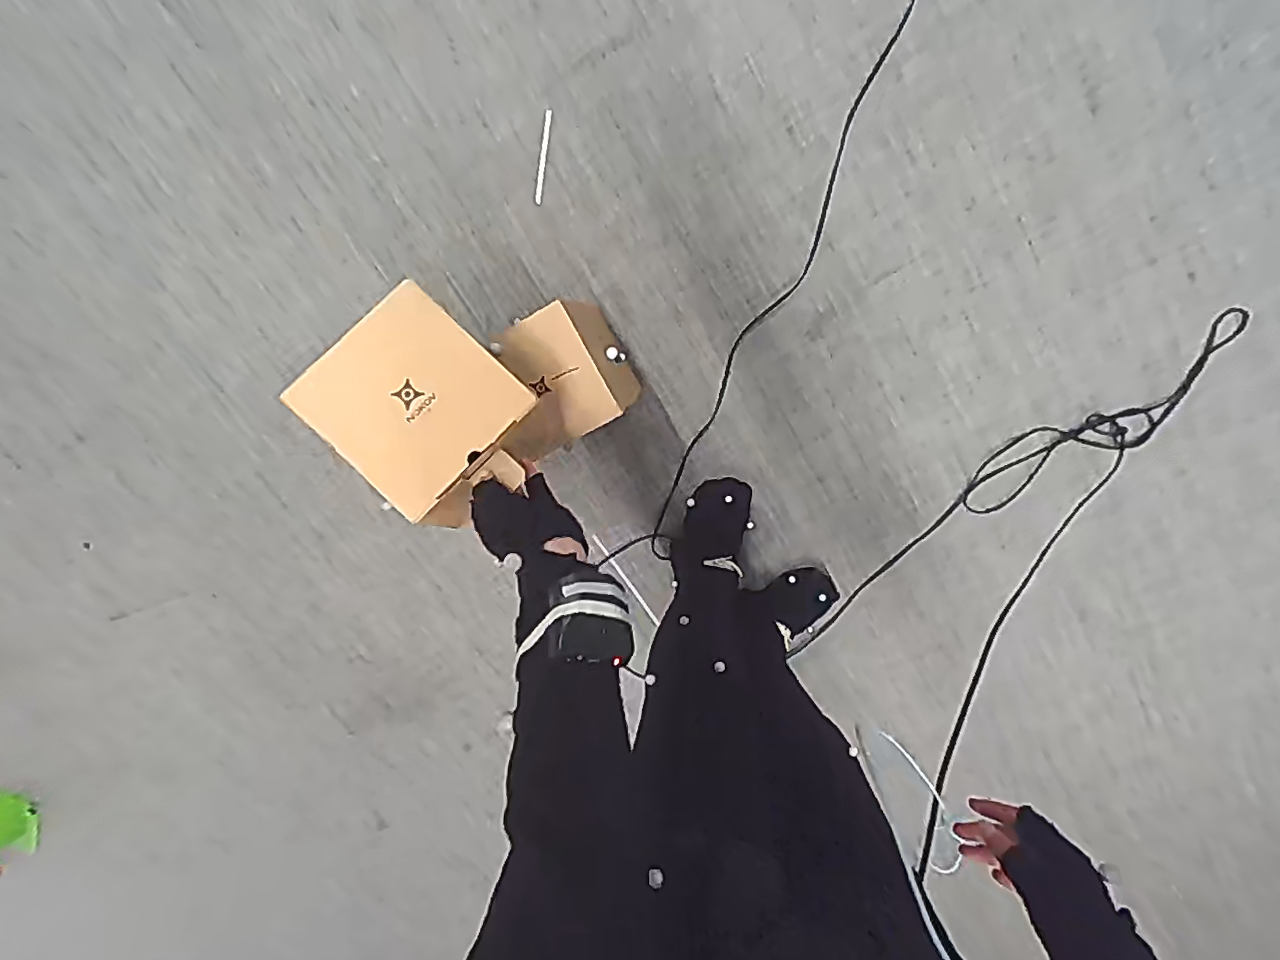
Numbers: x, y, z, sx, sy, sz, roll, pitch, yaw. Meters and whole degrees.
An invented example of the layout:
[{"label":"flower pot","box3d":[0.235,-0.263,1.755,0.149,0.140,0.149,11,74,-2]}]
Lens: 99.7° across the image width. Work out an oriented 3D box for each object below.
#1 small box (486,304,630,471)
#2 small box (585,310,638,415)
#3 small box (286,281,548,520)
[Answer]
[{"label":"small box","box3d":[-0.130,-0.136,0.781,0.179,0.176,0.168,-27,103,11]},{"label":"small box","box3d":[-0.115,-0.180,0.940,0.168,0.176,0.179,-28,104,12]},{"label":"small box","box3d":[-0.219,-0.068,0.584,0.168,0.176,0.179,-44,91,-8]}]
